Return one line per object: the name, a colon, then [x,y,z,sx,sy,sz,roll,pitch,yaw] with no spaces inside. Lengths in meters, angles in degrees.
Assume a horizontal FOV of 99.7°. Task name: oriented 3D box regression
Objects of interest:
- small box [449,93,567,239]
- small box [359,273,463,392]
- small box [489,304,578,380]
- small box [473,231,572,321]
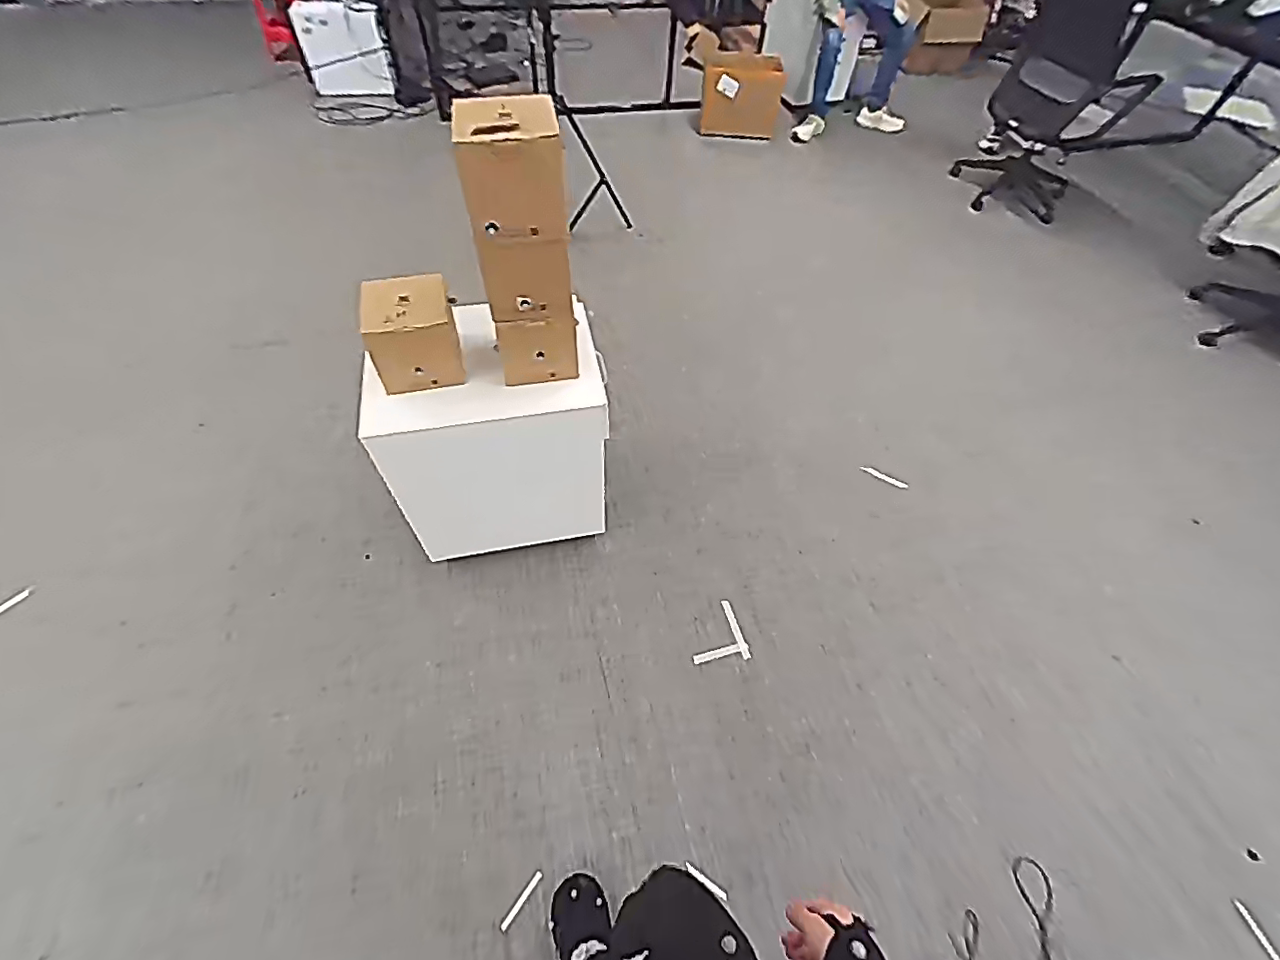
small box: [-0.221,-0.533,0.929,0.168,0.176,0.179,-8,54,-7]
small box: [-0.486,-0.315,1.160,0.168,0.176,0.179,-11,56,-11]
small box: [-0.234,-0.337,1.192,0.168,0.176,0.179,-9,57,-8]
small box: [-0.229,-0.440,1.065,0.168,0.176,0.179,-9,56,-8]
